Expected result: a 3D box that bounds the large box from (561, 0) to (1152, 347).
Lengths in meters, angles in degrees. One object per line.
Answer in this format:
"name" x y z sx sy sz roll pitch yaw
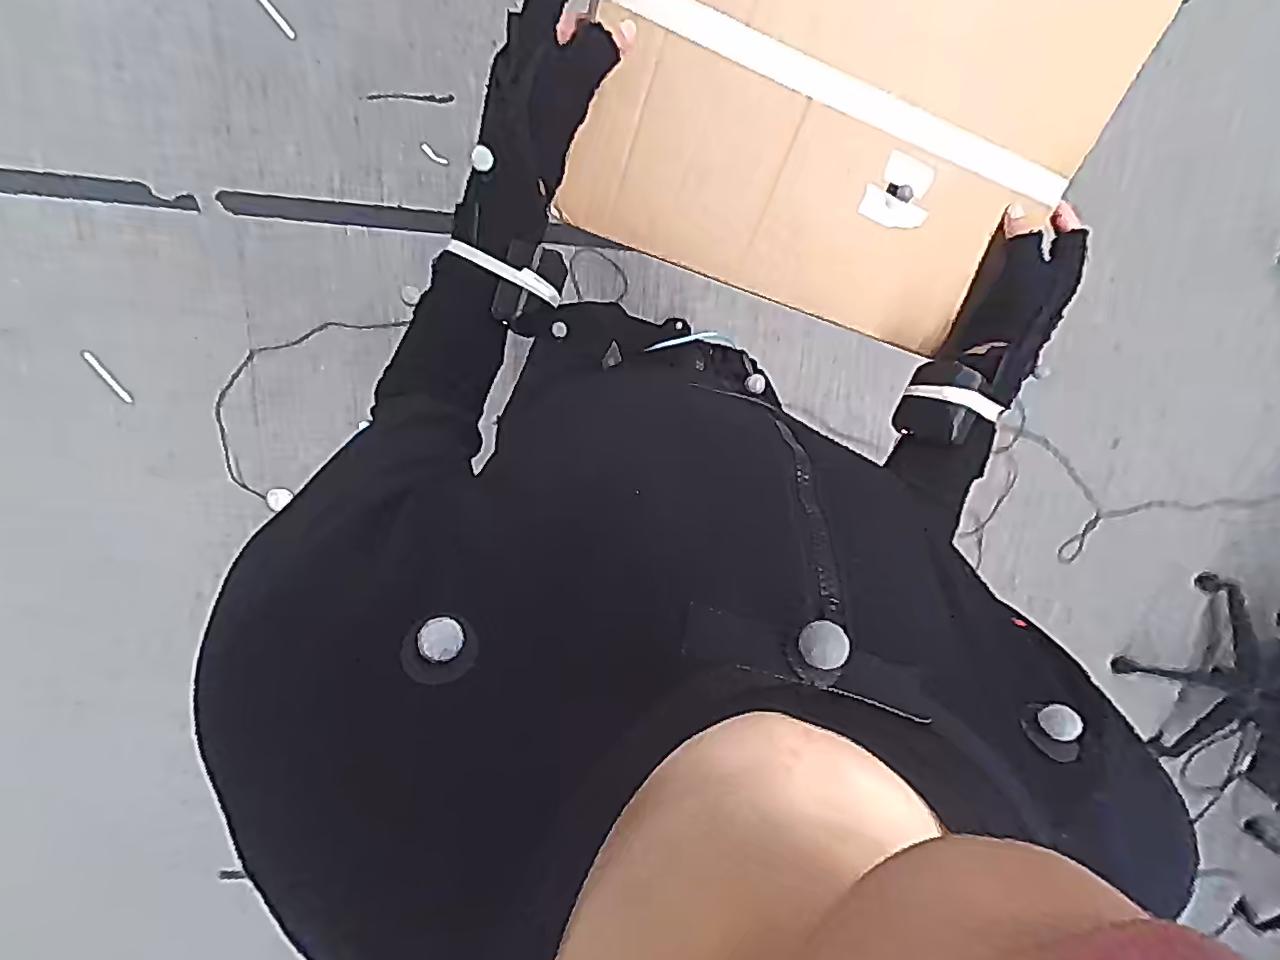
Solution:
"large box" 0.151 -0.379 0.560 0.408 0.320 0.320 15 119 -14
